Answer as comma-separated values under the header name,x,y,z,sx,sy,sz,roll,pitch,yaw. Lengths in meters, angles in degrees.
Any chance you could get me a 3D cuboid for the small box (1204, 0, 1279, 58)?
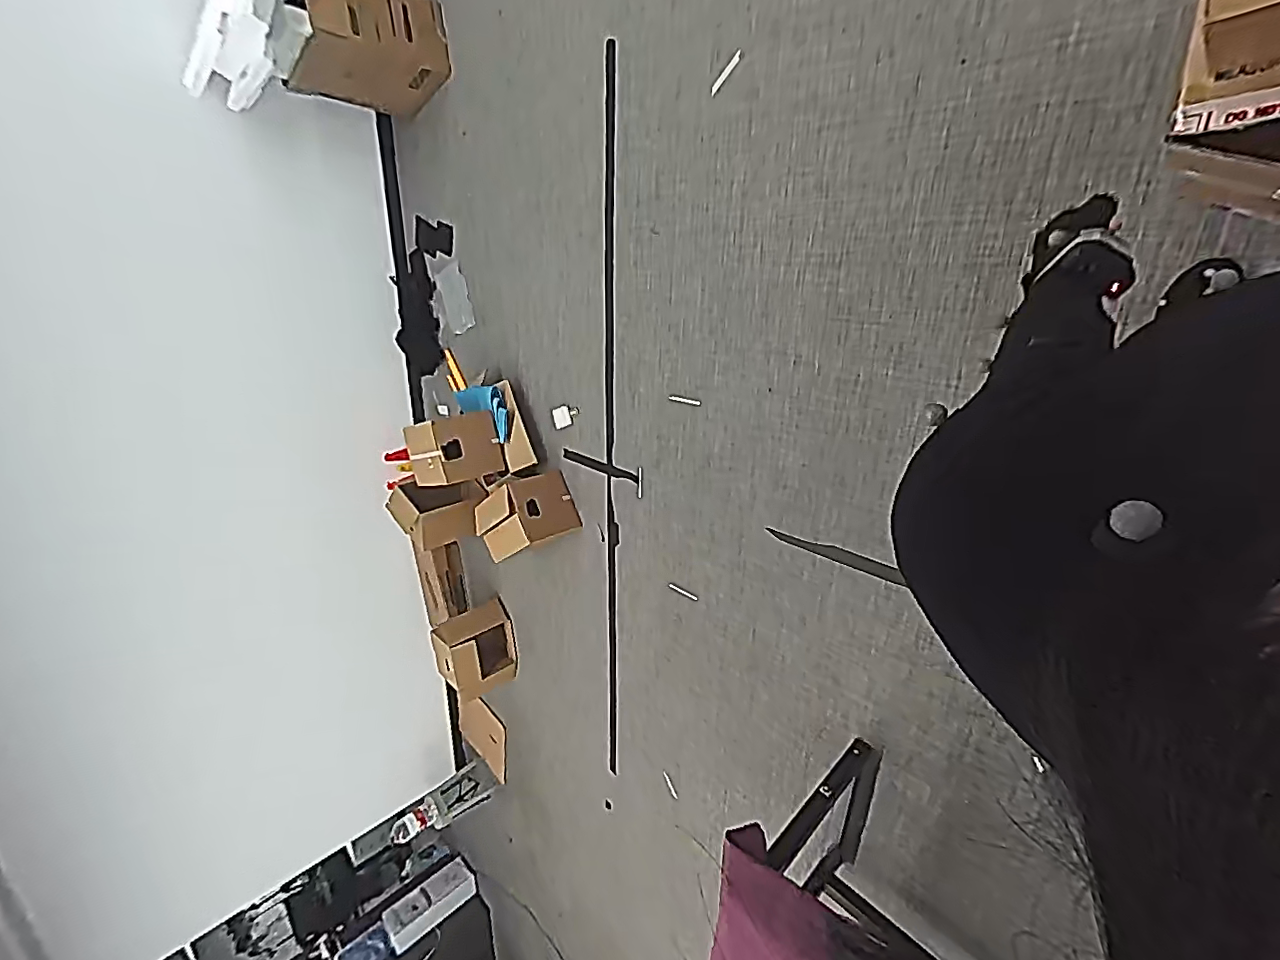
name,x,y,z,sx,sy,sz,roll,pitch,yaw
small box,0.694,-0.557,0.527,0.179,0.176,0.168,11,110,46
